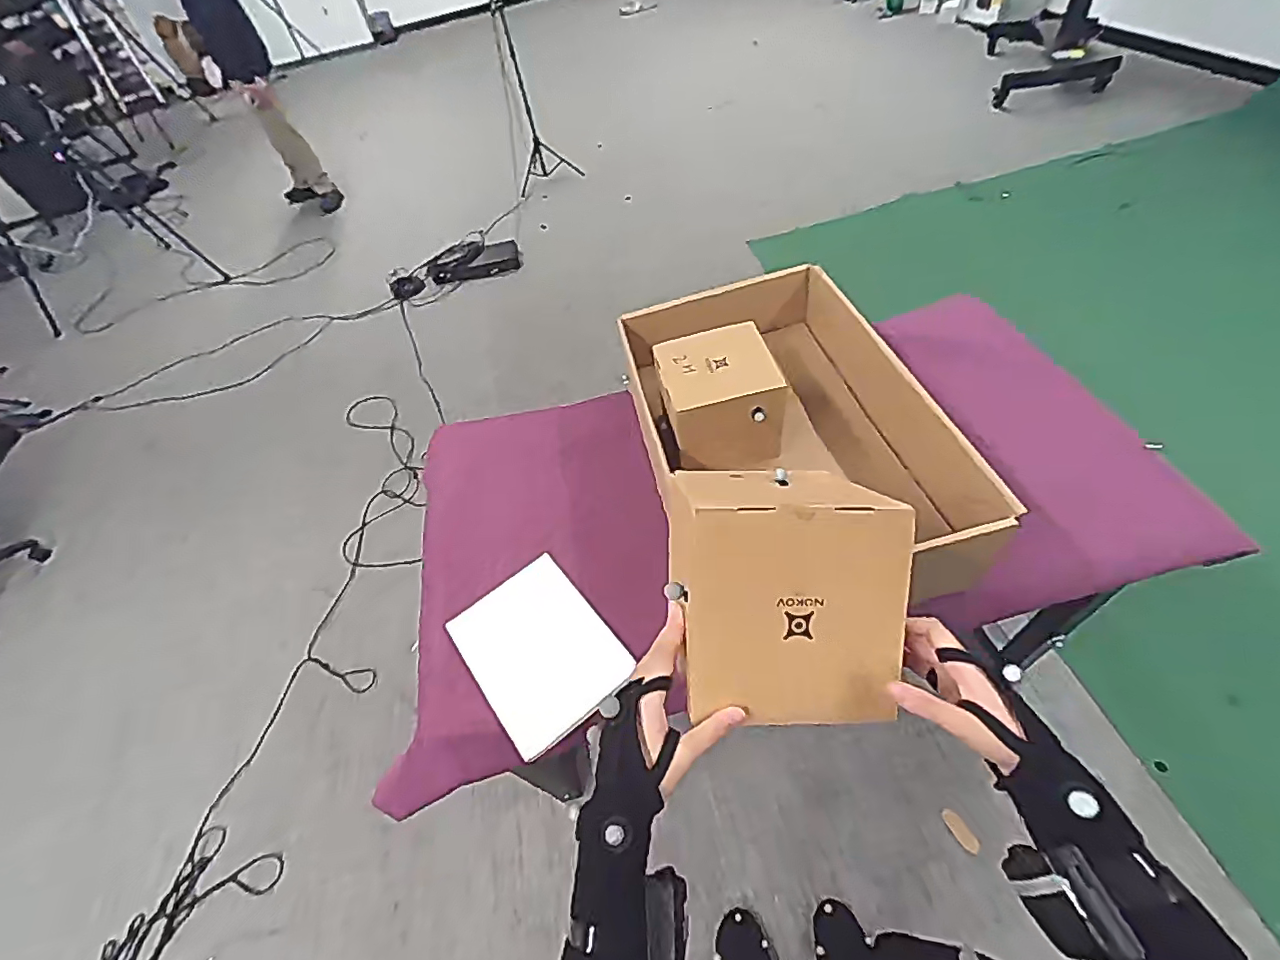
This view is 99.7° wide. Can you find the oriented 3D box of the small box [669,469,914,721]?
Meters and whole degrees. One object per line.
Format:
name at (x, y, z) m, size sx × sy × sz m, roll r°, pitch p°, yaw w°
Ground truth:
small box at (0.116, 0.089, 0.487) m, size 0.168 × 0.179 × 0.176 m, roll 1°, pitch 9°, yaw -2°
